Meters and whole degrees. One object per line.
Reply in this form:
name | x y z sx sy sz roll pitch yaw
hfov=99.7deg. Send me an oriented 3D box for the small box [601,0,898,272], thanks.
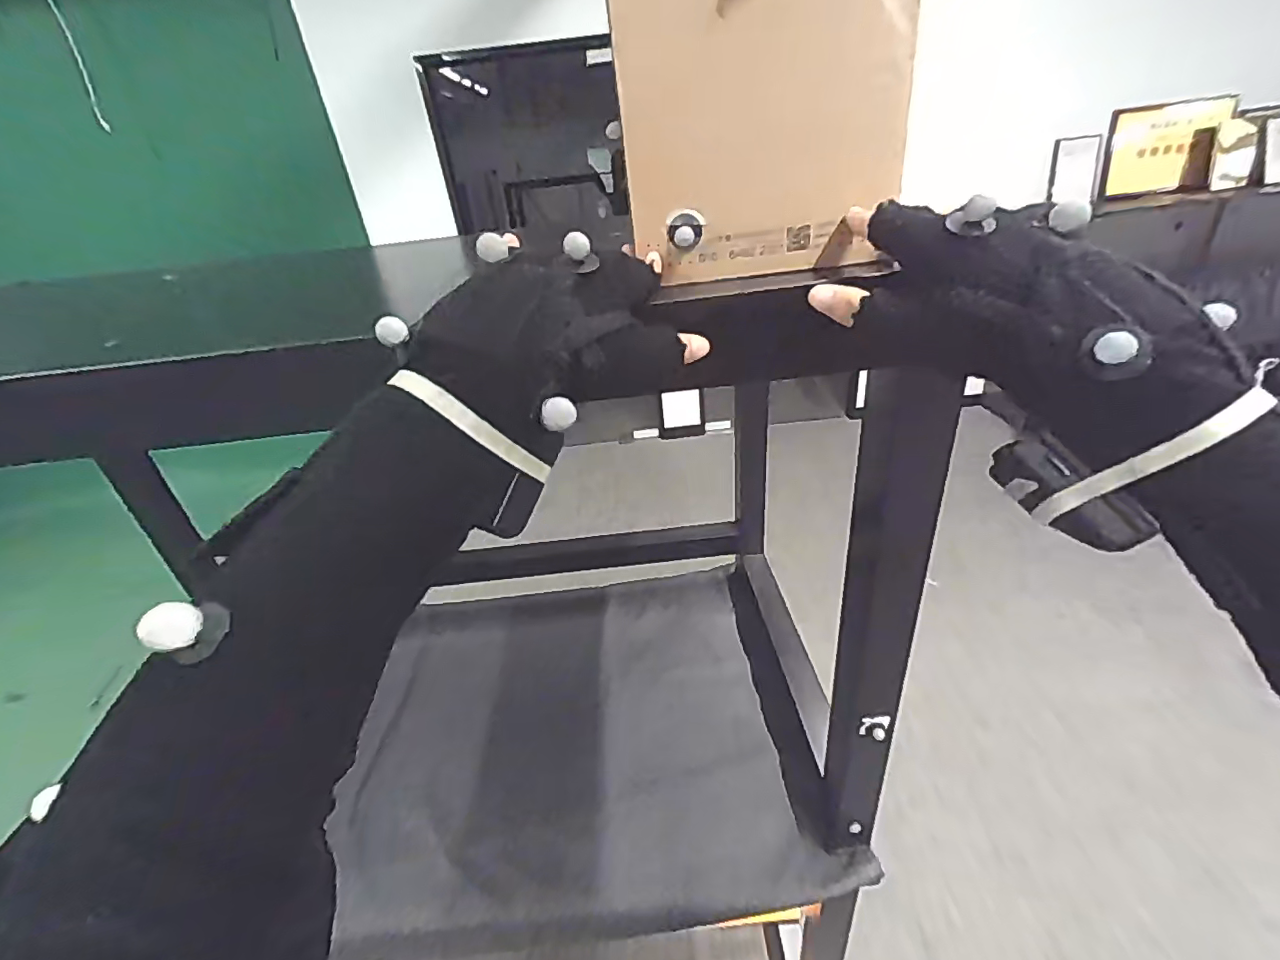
small box | 0.071 -0.252 0.389 0.168 0.176 0.179 -4 29 5
